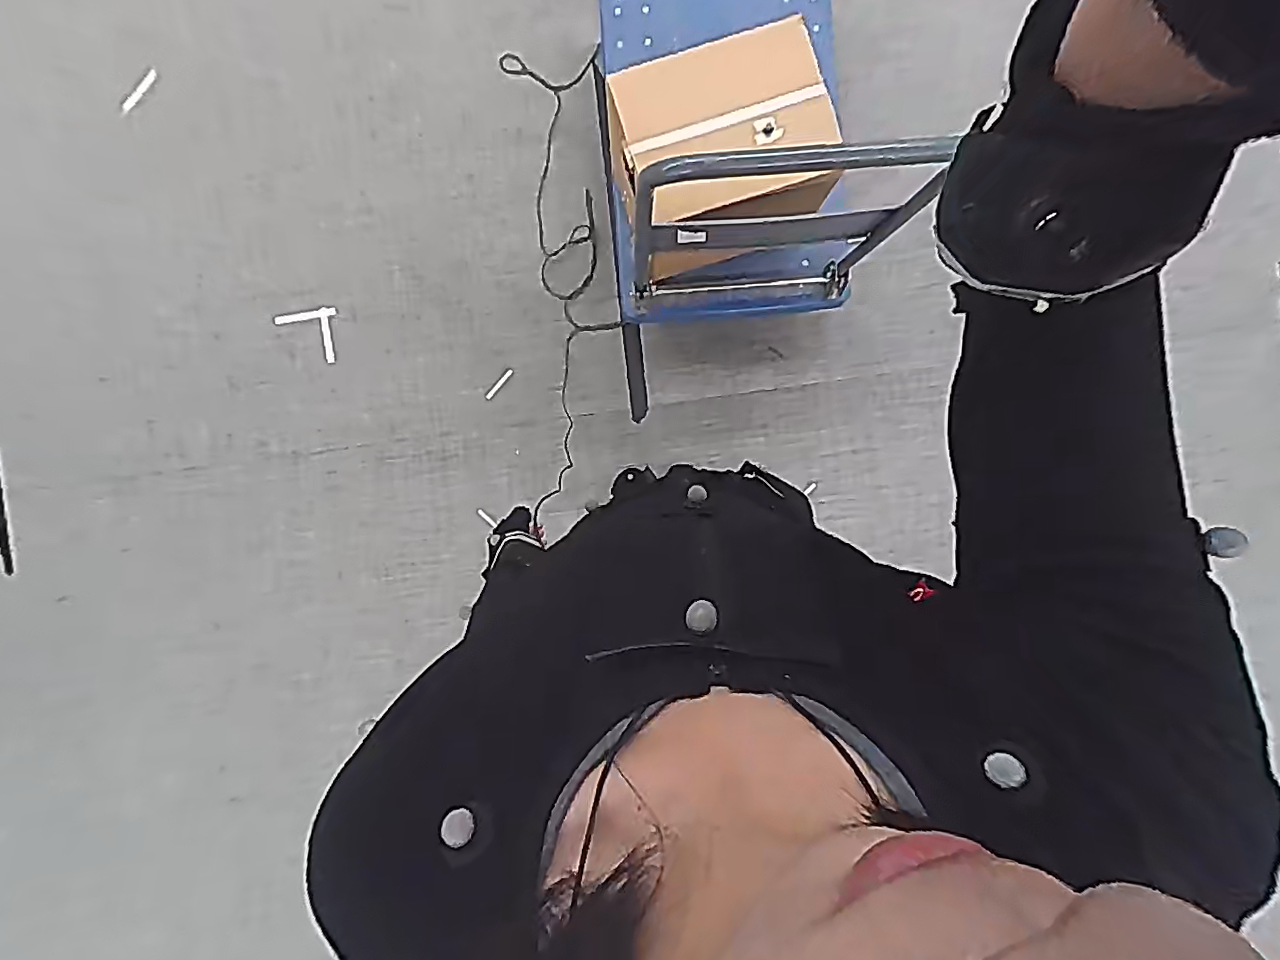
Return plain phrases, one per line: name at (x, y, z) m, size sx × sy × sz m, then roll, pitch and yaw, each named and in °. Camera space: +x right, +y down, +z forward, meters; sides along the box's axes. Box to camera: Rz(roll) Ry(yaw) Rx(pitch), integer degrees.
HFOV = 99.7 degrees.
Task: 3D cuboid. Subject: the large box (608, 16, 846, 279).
large box at (0.169, -0.703, 1.205) m, size 0.408 × 0.320 × 0.320 m, roll -18°, pitch 91°, yaw -1°
